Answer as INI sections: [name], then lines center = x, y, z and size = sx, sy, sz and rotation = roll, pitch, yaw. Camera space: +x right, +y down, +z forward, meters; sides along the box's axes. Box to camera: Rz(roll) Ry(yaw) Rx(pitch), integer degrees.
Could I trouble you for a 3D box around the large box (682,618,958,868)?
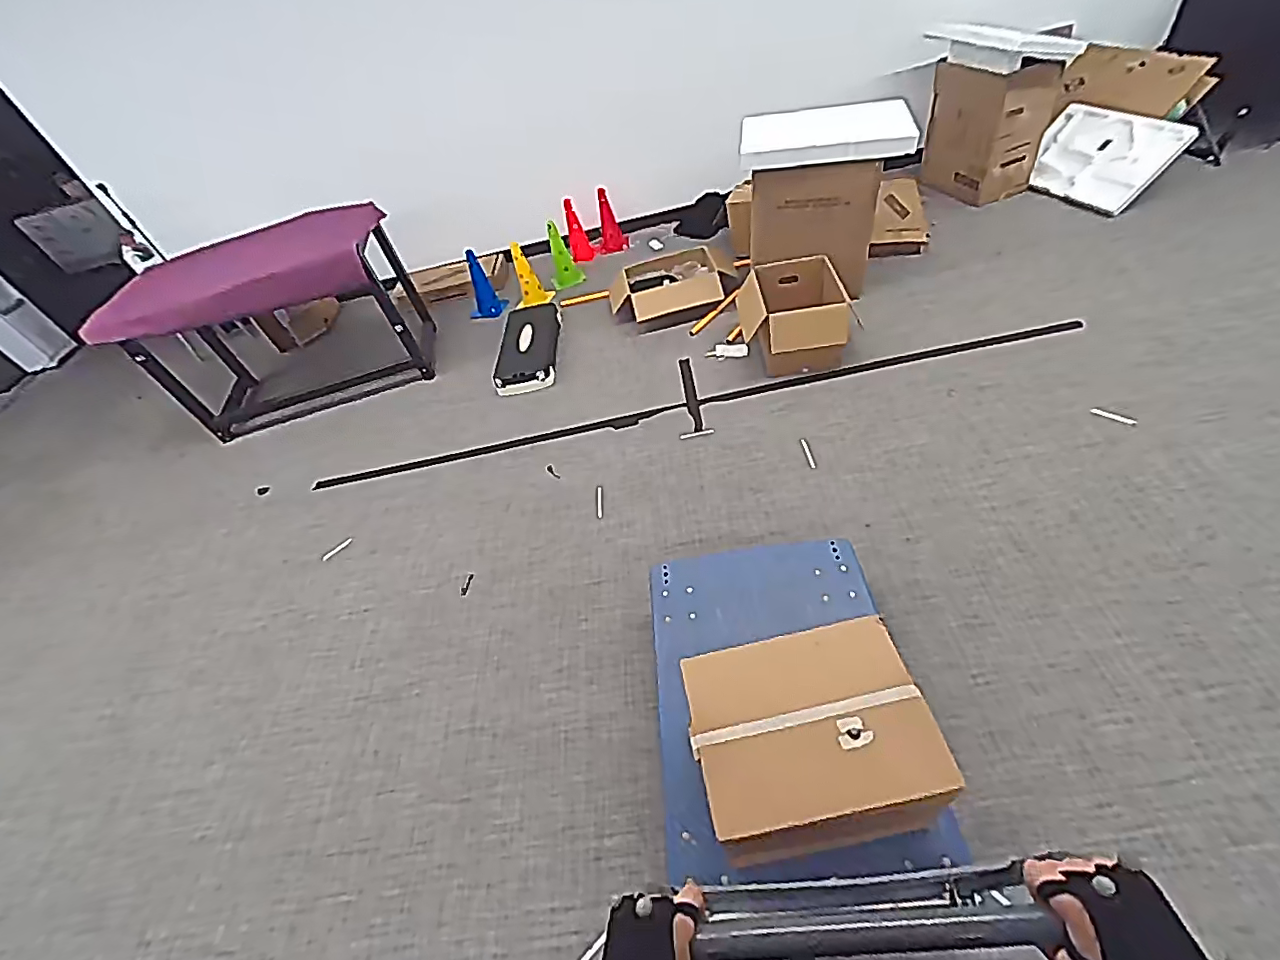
[large box]
center = 0.325, 0.529, 1.083
size = 0.408, 0.320, 0.320
rotation = -14, 47, 1
